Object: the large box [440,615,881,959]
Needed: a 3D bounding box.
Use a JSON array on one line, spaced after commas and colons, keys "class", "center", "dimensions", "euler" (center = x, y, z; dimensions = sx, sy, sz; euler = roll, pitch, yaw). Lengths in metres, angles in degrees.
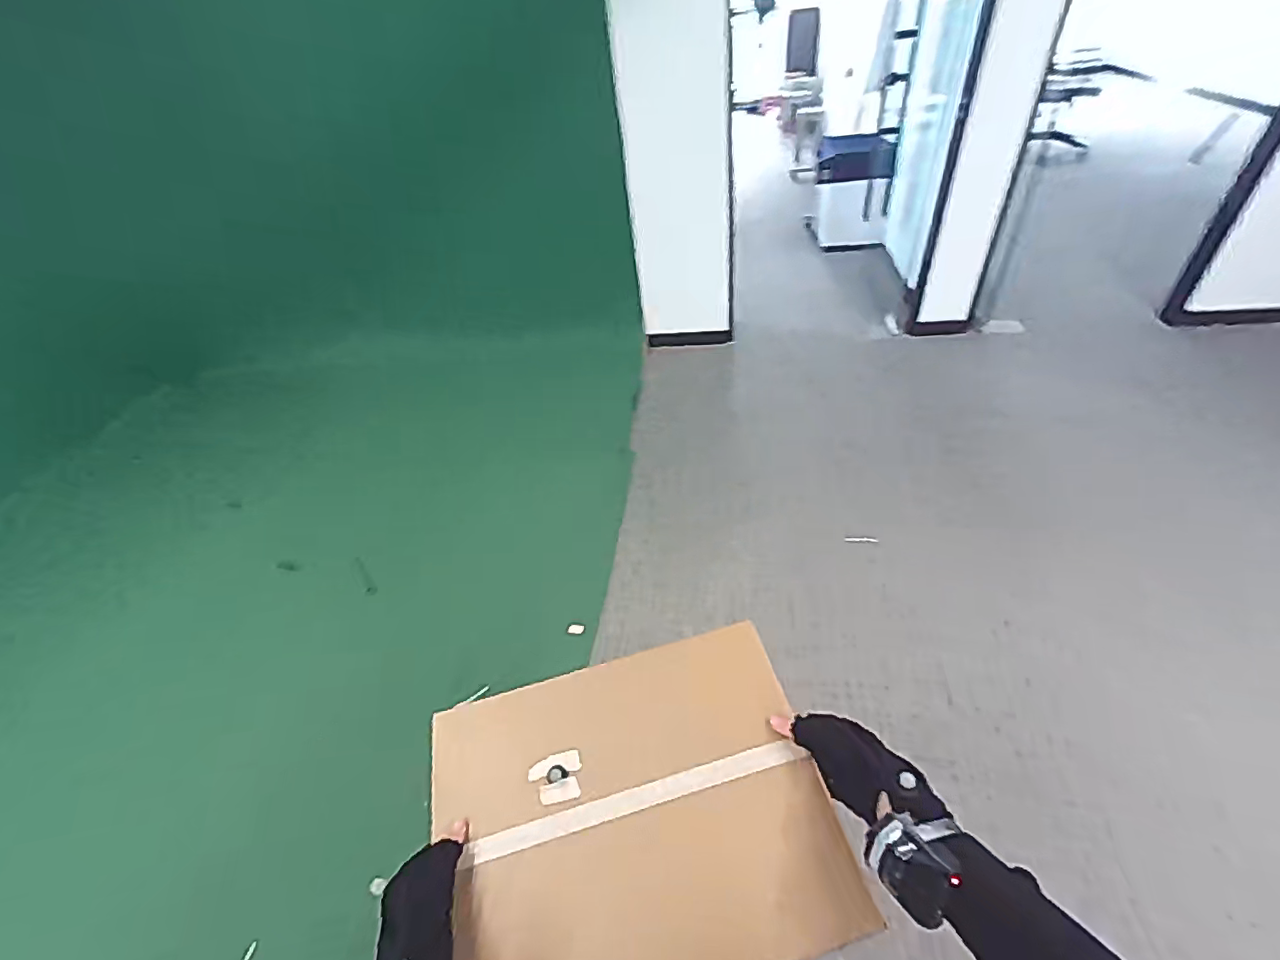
[{"class": "large box", "center": [0.009, 0.421, 0.674], "dimensions": [0.408, 0.320, 0.320], "euler": [-15, 50, -4]}]
